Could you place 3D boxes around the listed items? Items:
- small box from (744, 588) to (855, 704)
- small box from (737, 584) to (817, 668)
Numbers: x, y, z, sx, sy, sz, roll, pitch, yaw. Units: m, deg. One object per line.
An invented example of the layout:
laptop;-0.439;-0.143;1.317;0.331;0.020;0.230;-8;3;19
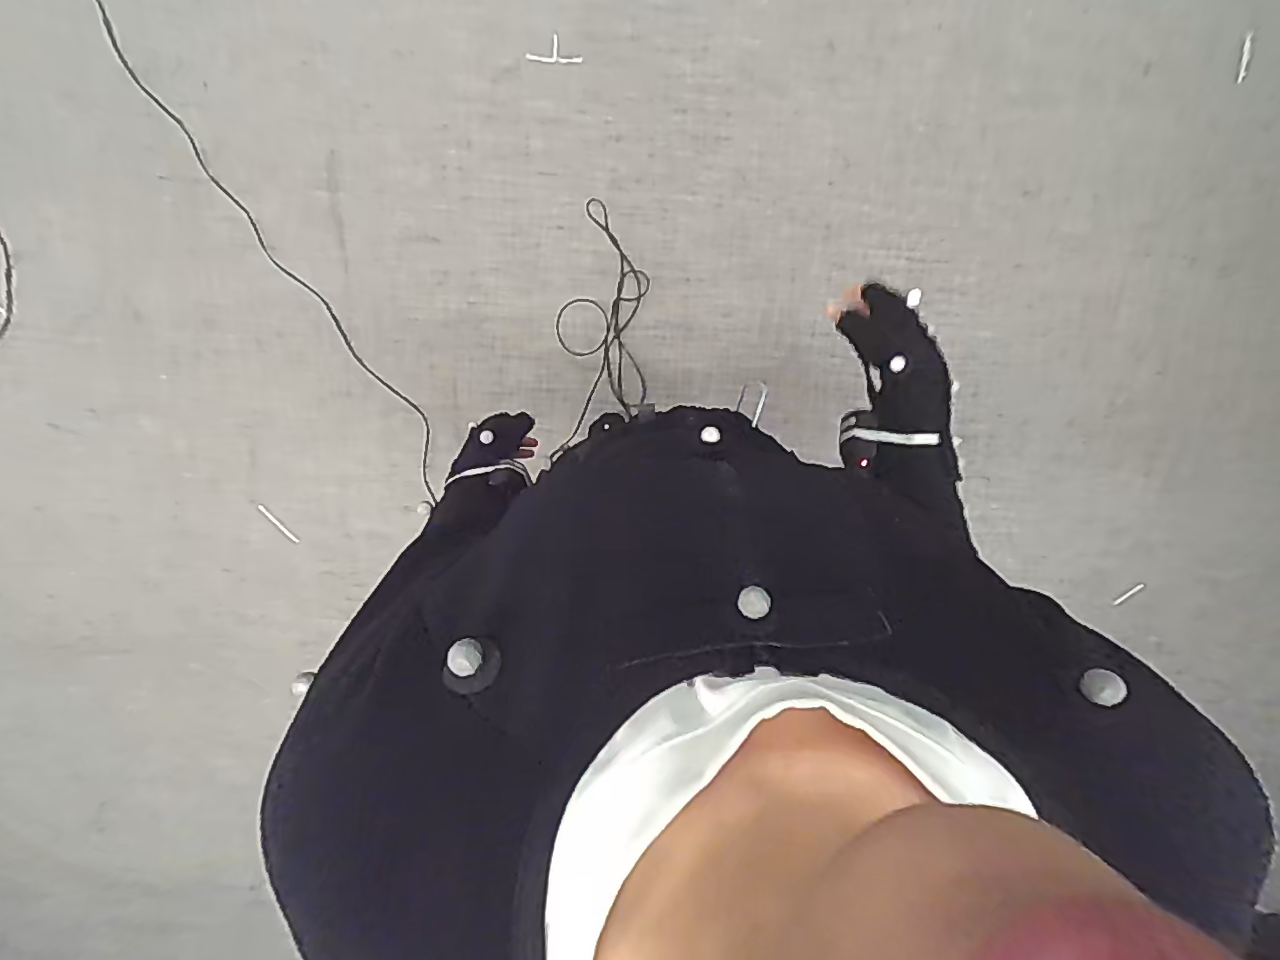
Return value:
small box;0.371;0.389;1.300;0.168;0.176;0.179;32;96;-5
small box;0.360;0.385;1.448;0.179;0.176;0.168;-2;98;-2
